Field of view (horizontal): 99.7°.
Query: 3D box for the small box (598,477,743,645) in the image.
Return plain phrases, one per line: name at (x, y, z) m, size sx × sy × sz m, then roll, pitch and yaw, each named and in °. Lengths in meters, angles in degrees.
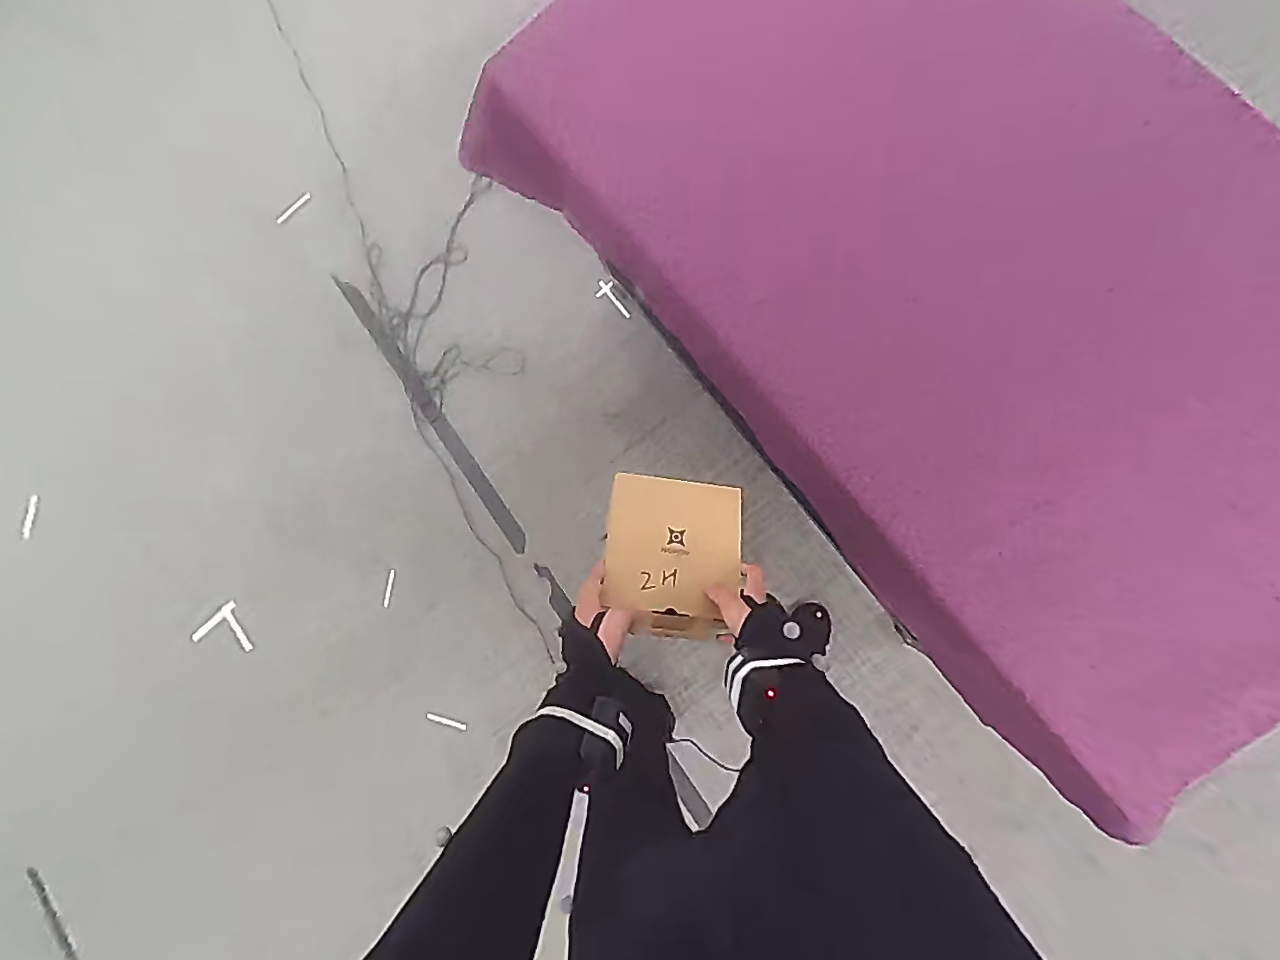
small box at (0.035, 0.116, 0.733) m, size 0.168 × 0.176 × 0.179 m, roll 8°, pitch 66°, yaw -4°
